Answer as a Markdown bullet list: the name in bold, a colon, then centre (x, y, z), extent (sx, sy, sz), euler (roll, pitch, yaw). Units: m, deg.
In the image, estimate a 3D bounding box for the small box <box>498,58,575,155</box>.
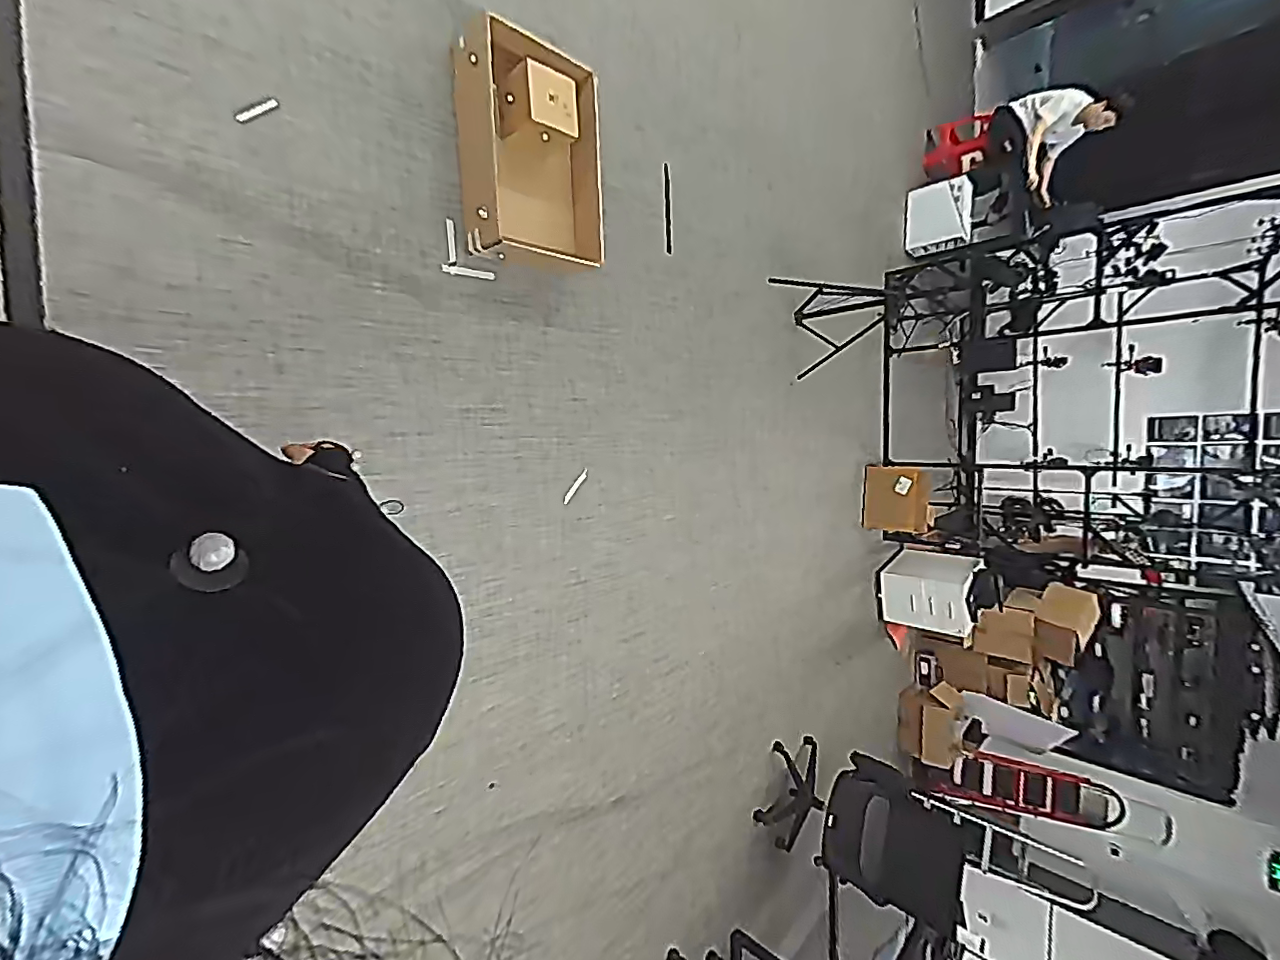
- **small box**: centre (-0.321, -1.124, 1.648), extent (0.179, 0.176, 0.168), euler (-10, 100, -45)
